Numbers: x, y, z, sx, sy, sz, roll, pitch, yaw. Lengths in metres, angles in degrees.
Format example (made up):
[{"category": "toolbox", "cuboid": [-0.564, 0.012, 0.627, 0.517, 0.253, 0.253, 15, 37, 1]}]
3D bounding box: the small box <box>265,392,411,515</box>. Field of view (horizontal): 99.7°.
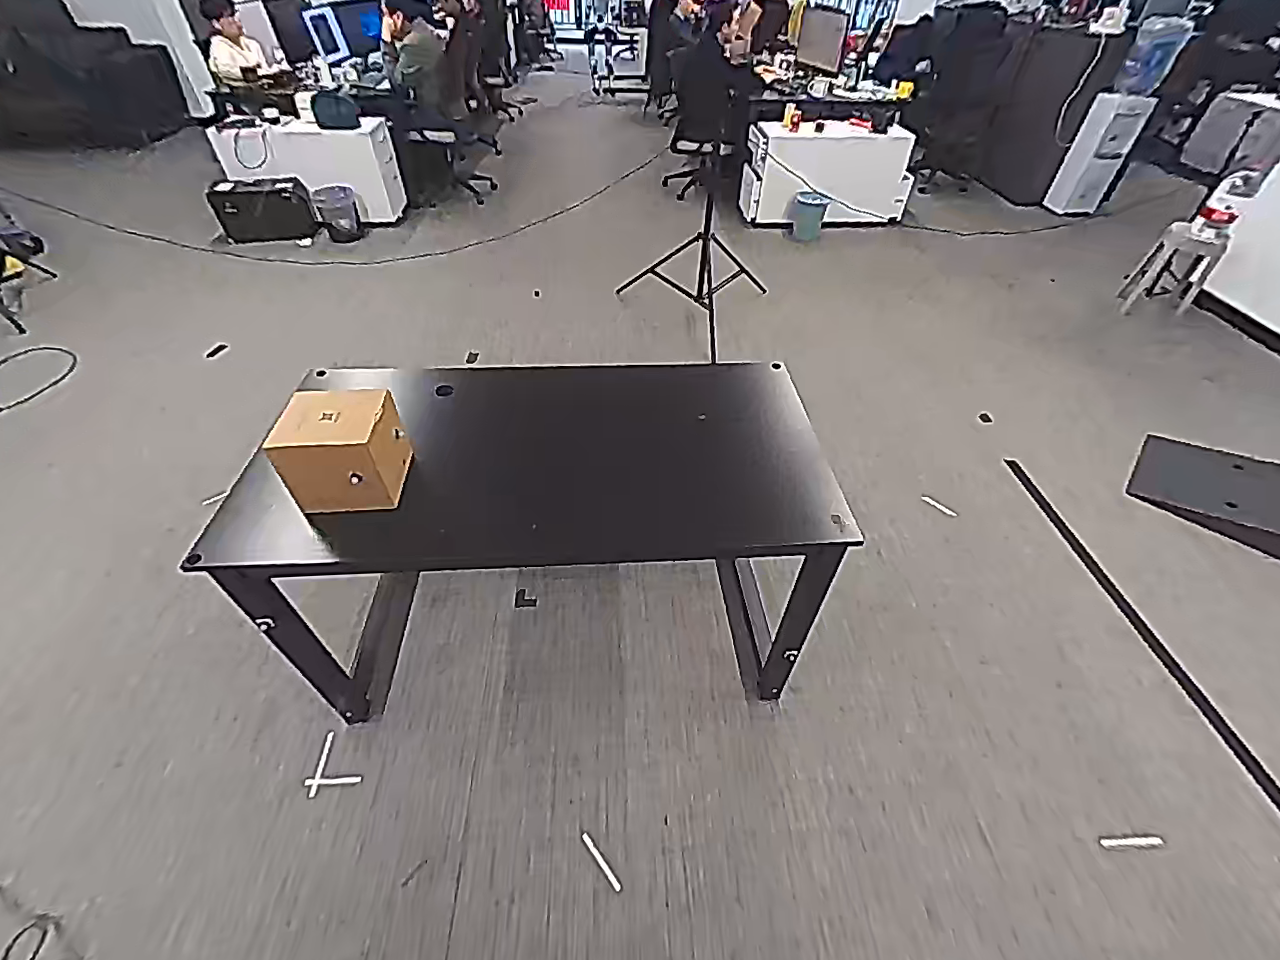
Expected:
[{"category": "small box", "cuboid": [-0.557, -0.049, 1.030, 0.179, 0.176, 0.168, -4, 44, -5]}]
